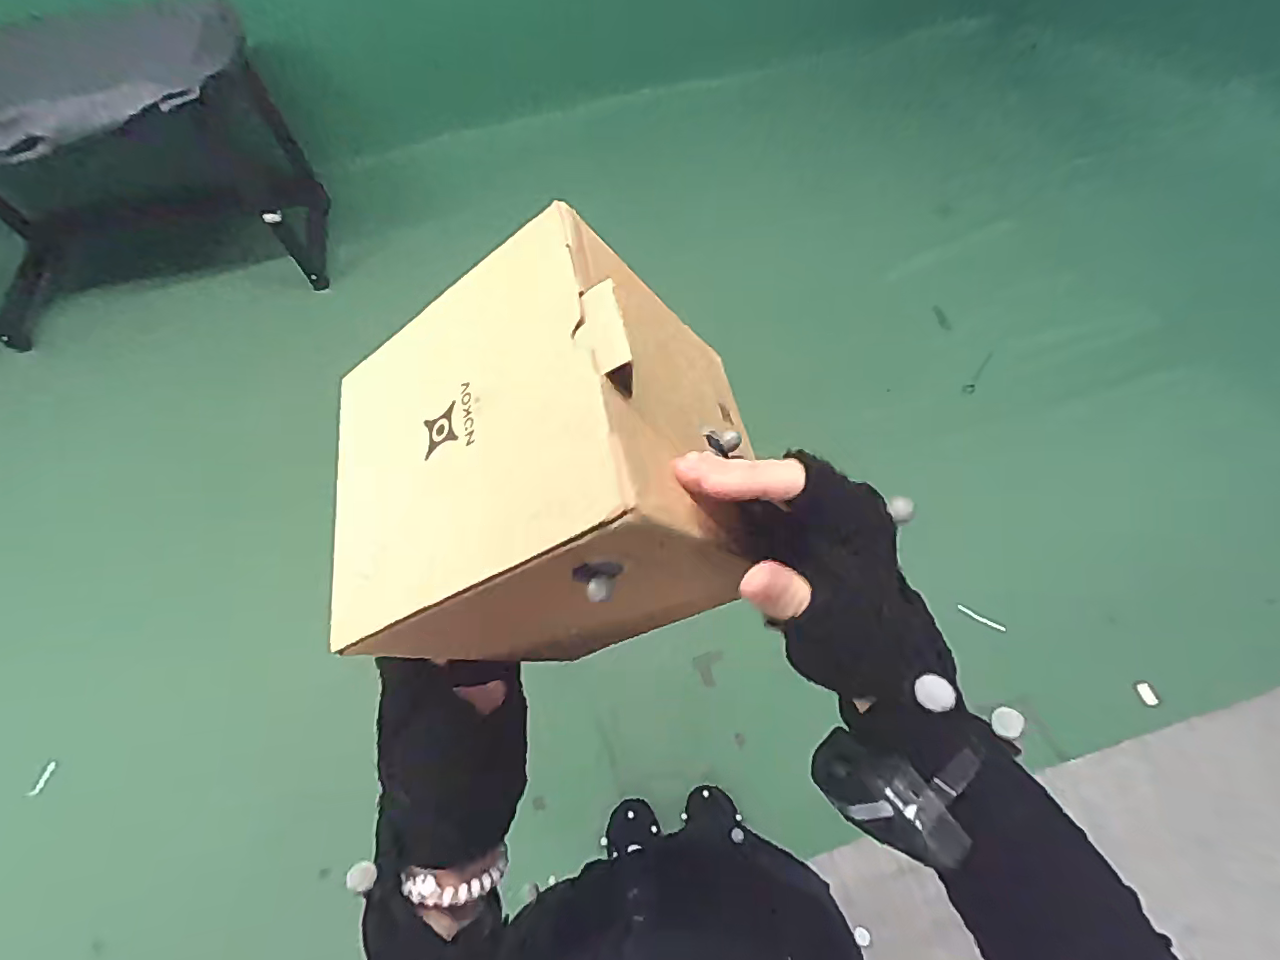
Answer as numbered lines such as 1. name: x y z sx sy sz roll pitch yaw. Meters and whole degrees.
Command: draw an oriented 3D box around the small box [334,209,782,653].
1. small box: -0.045 -0.001 0.317 0.179 0.176 0.168 -27 60 26
